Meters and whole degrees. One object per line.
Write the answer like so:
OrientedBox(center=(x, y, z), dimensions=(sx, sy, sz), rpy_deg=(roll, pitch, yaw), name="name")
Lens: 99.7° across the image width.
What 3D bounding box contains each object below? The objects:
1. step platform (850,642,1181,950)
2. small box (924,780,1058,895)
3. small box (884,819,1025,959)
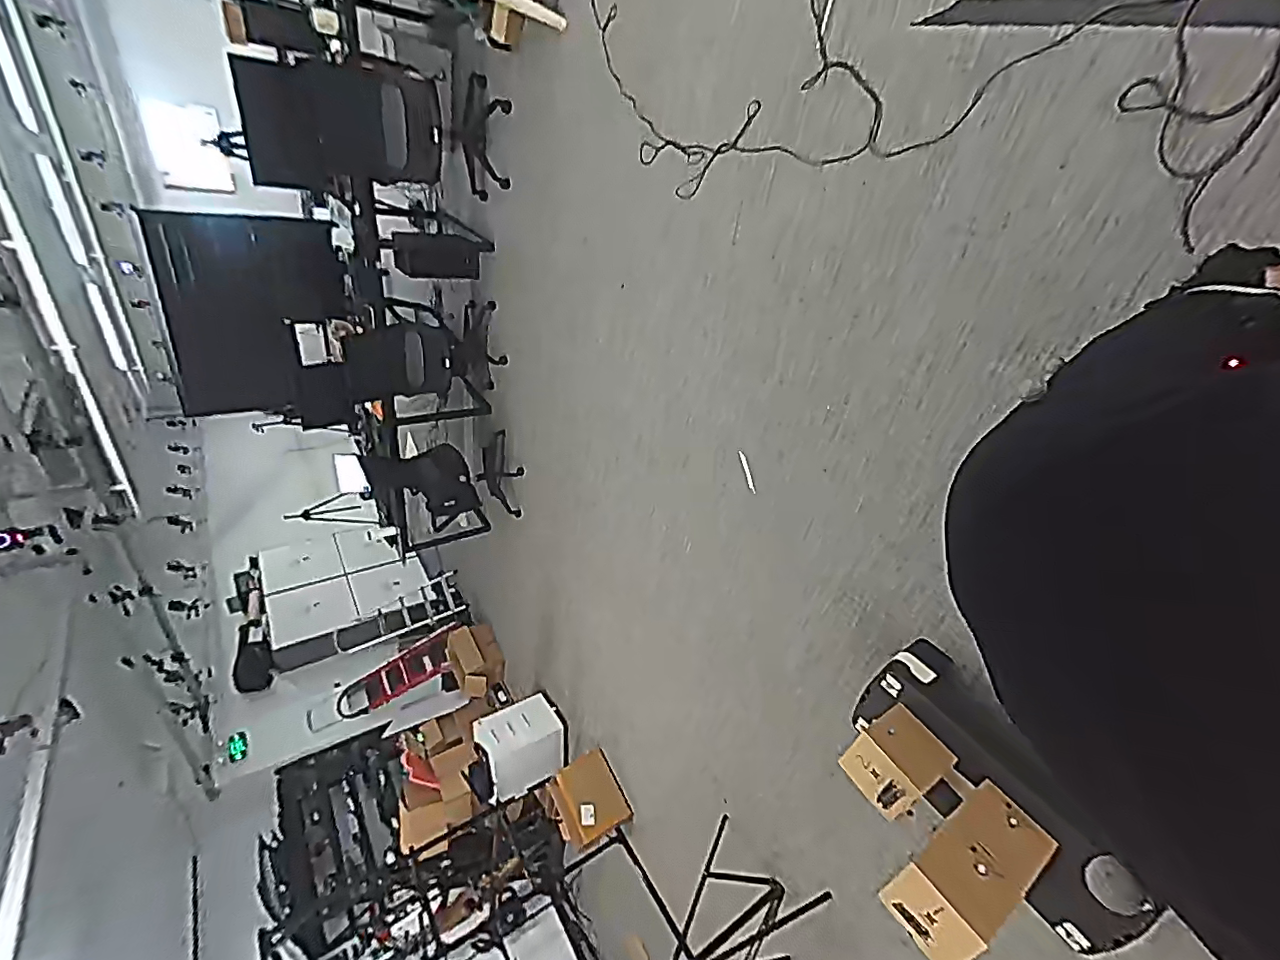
OrientedBox(center=(0.884, 0.761, 1.378), dimensions=(0.684, 0.204, 0.286), rpy_deg=(42, 135, 40), name="step platform")
OrientedBox(center=(0.792, 0.826, 1.221), dimensions=(0.168, 0.176, 0.179), rpy_deg=(44, 135, 38), name="small box")
OrientedBox(center=(0.659, 0.864, 1.133), dimensions=(0.168, 0.176, 0.179), rpy_deg=(44, 135, 39), name="small box")
